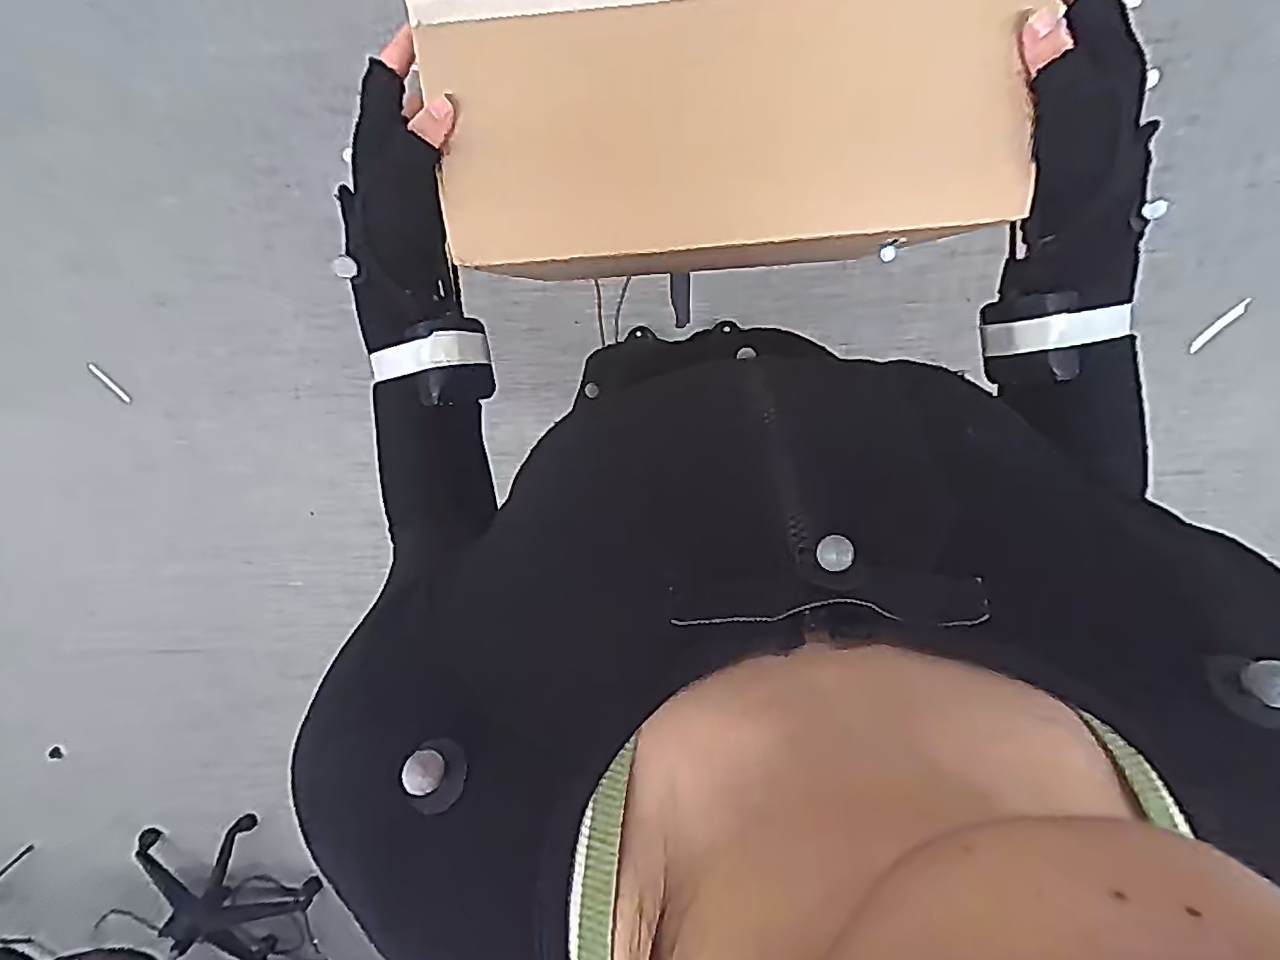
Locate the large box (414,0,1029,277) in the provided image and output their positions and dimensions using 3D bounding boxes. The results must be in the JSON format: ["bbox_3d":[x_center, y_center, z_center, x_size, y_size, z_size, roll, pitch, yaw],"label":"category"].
[{"bbox_3d":[0.055,-0.365,0.486,0.408,0.320,0.320,-4,108,2],"label":"large box"}]
